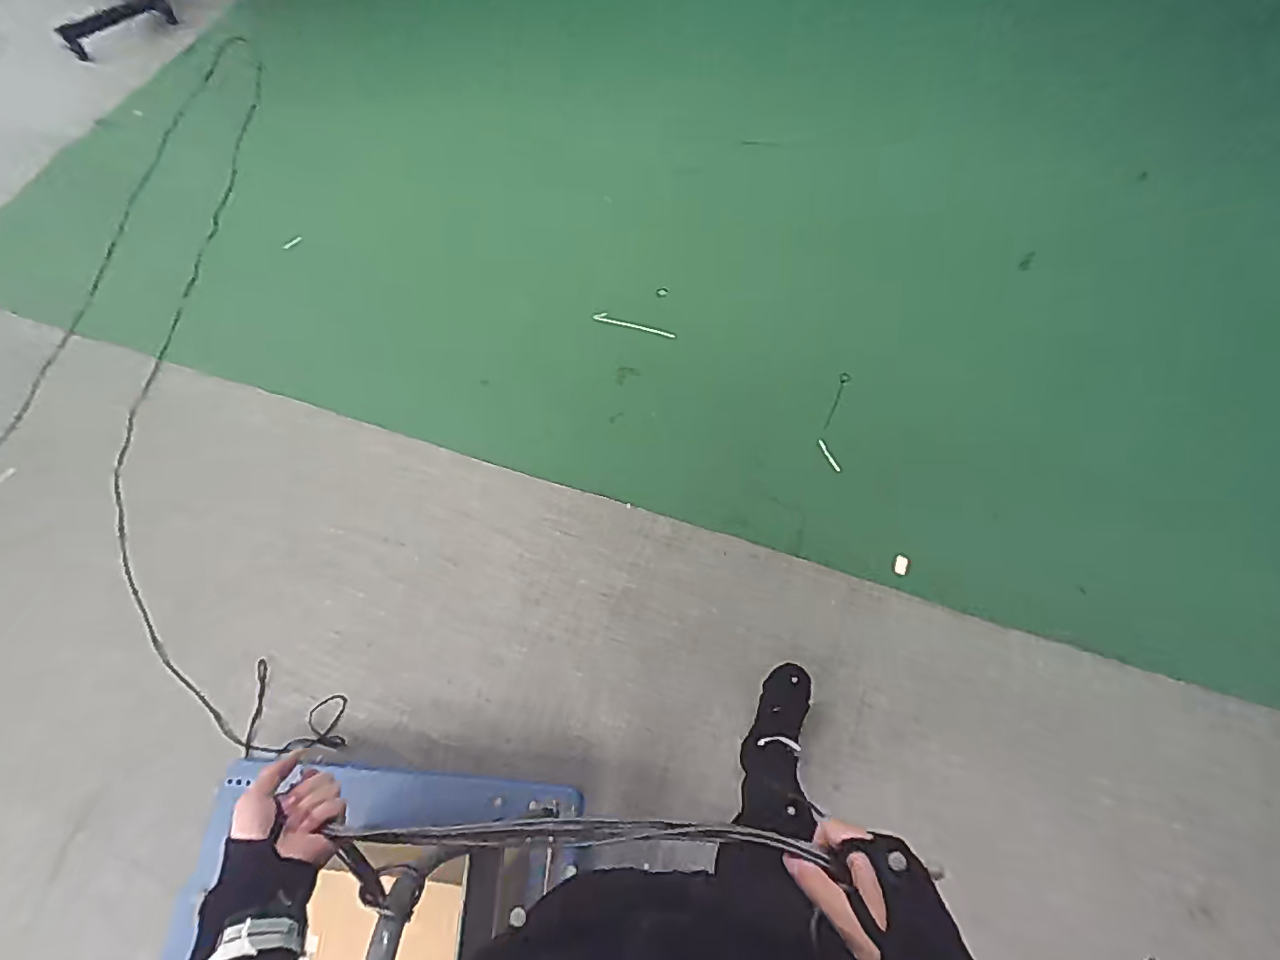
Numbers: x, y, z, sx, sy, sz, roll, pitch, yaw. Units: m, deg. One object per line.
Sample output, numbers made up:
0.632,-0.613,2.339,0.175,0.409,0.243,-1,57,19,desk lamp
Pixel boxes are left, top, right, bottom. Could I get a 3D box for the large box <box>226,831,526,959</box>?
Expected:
-0.457,0.856,0.981,0.408,0.320,0.320,0,65,8,large box
